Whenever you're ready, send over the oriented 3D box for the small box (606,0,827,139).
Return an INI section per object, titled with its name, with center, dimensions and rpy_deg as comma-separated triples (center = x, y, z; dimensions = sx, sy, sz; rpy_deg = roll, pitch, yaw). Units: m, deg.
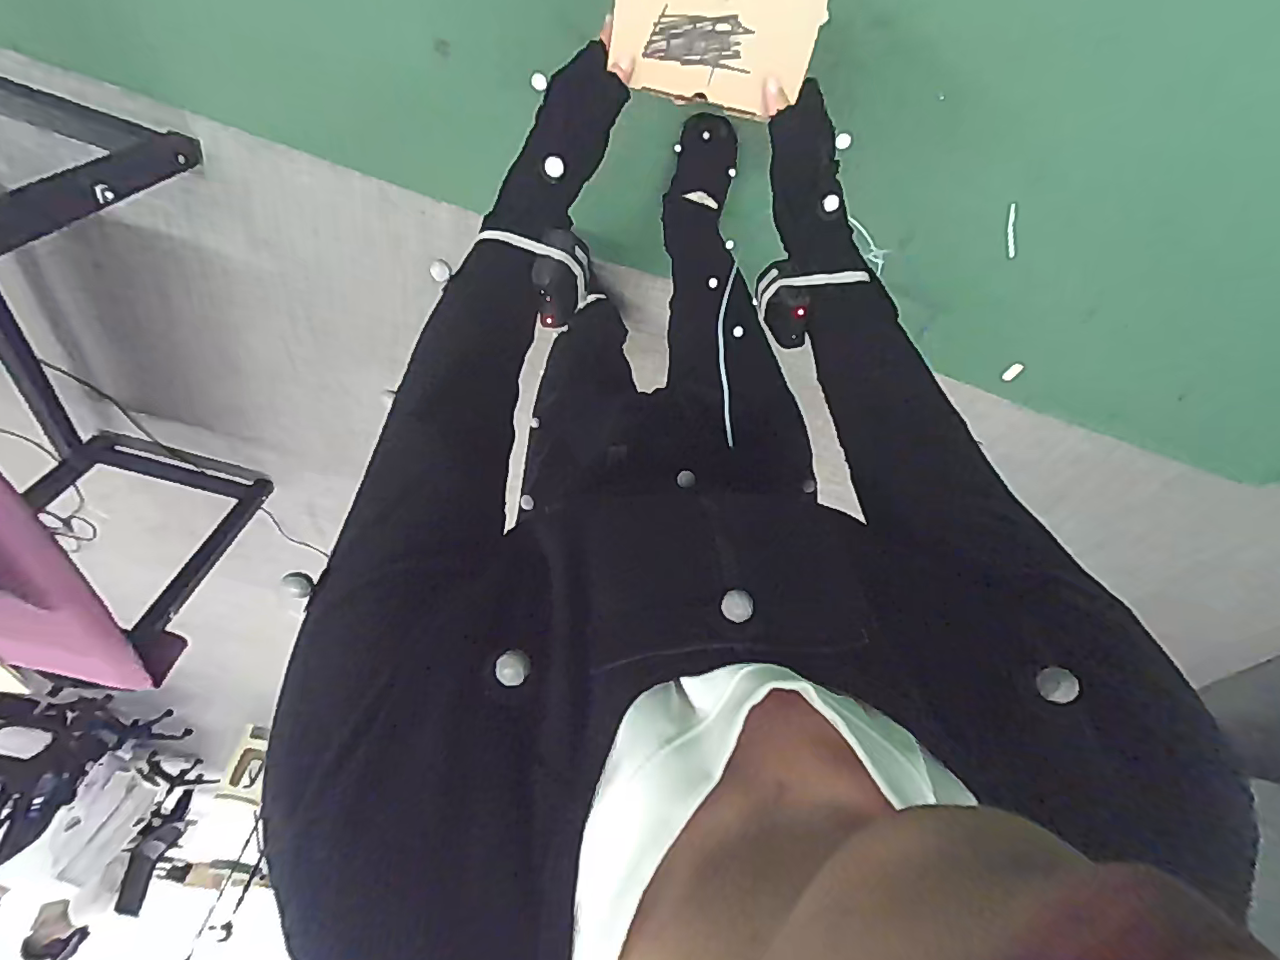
[small box]
center = 0.069, -0.434, 0.482
dimensions = 0.168, 0.176, 0.179
rpy_deg = 9, 130, -5
